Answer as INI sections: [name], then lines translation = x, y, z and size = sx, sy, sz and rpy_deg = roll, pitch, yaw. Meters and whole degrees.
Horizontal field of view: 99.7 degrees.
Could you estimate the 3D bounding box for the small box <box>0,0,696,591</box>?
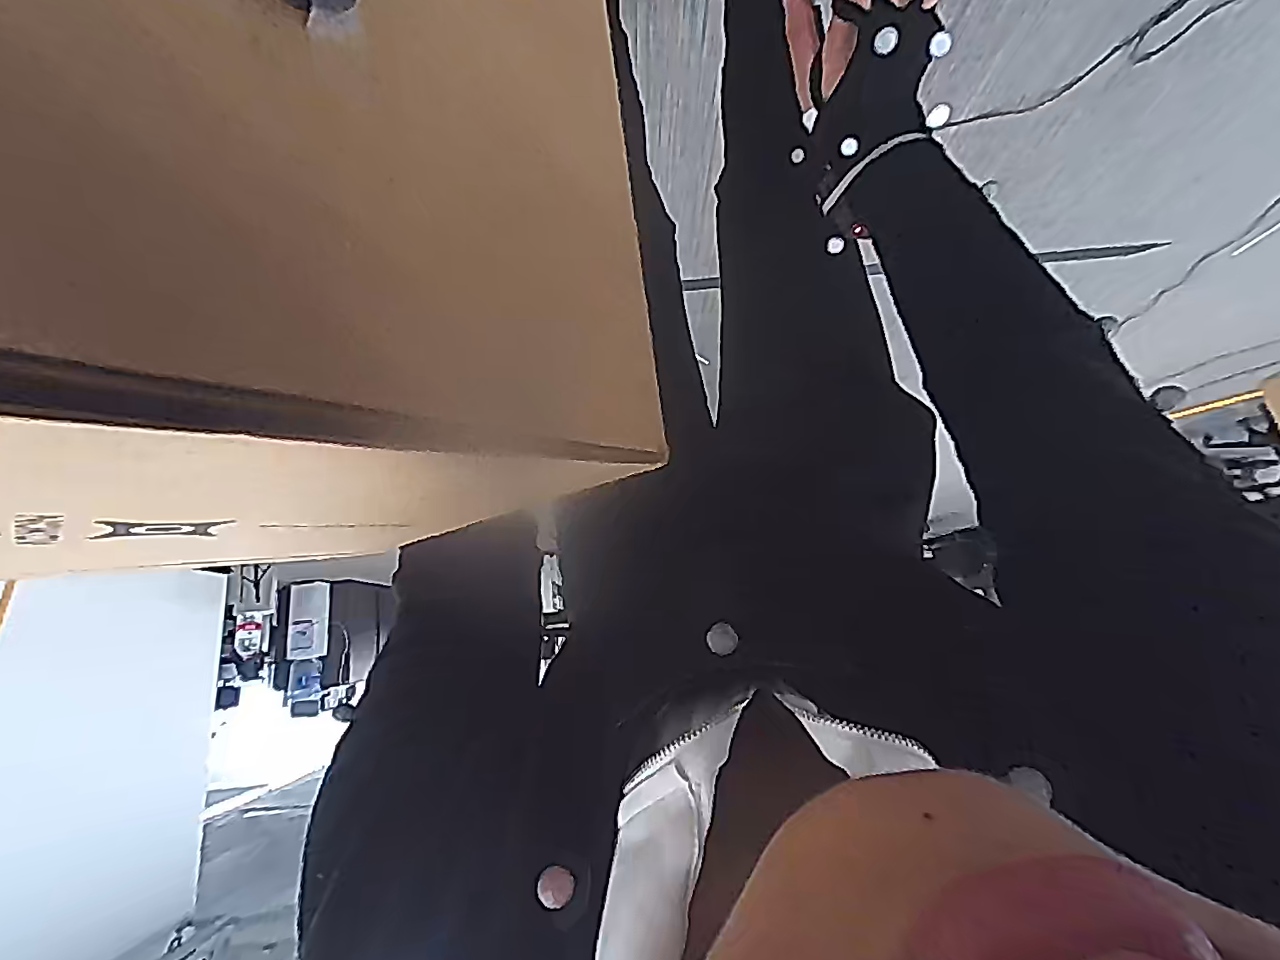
[small box]
translation = -0.113, -0.071, 0.122
size = 0.168, 0.176, 0.179
rpy_deg = -16, 166, 39
